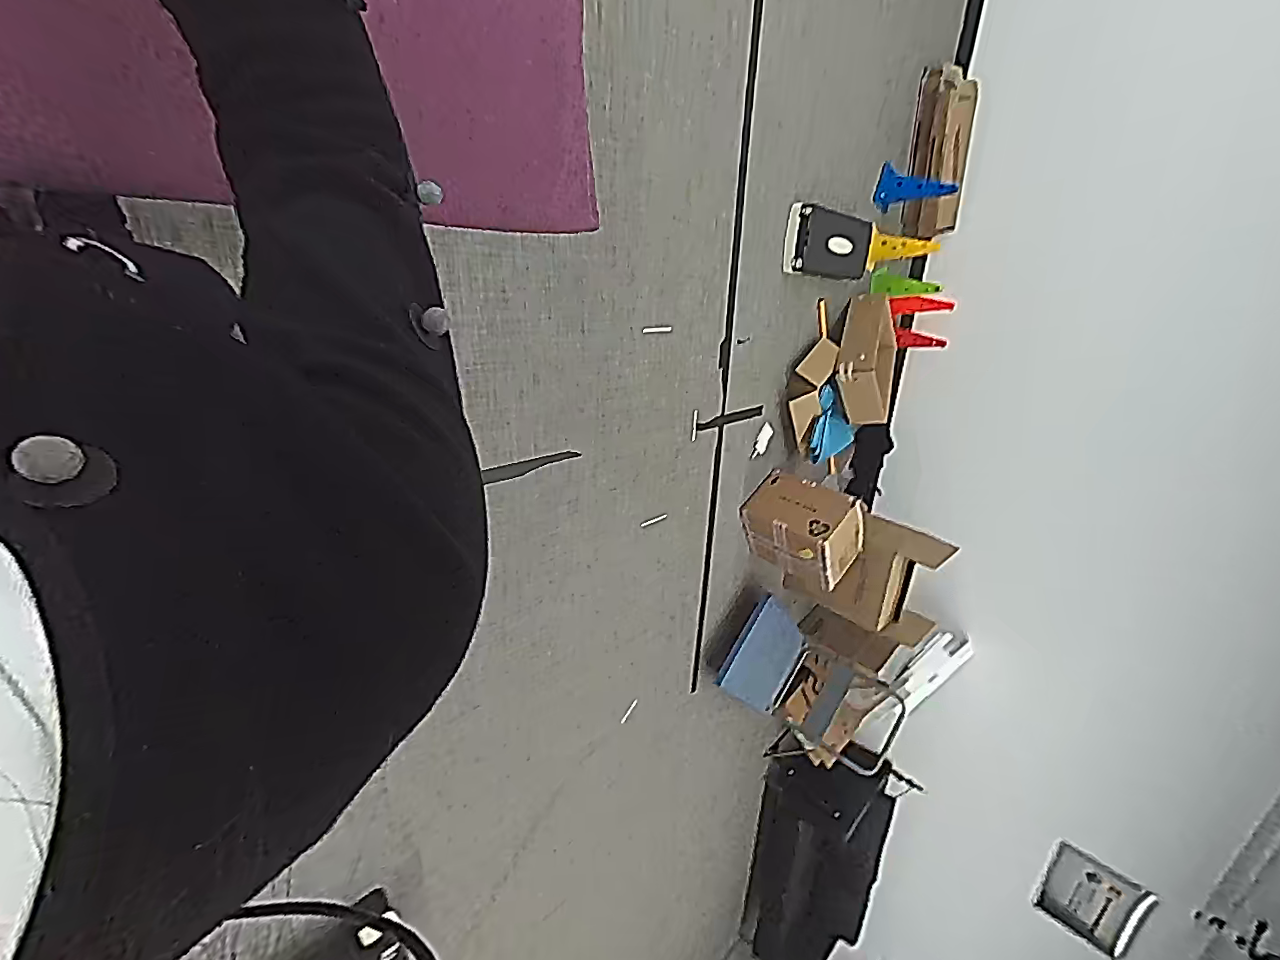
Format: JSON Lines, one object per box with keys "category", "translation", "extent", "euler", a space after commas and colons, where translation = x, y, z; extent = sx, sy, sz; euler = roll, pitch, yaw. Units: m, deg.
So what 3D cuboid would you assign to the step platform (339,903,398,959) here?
{"category": "step platform", "translation": [-1.075, 1.638, 1.592], "extent": [0.684, 0.204, 0.286], "euler": [-19, 121, -43]}
